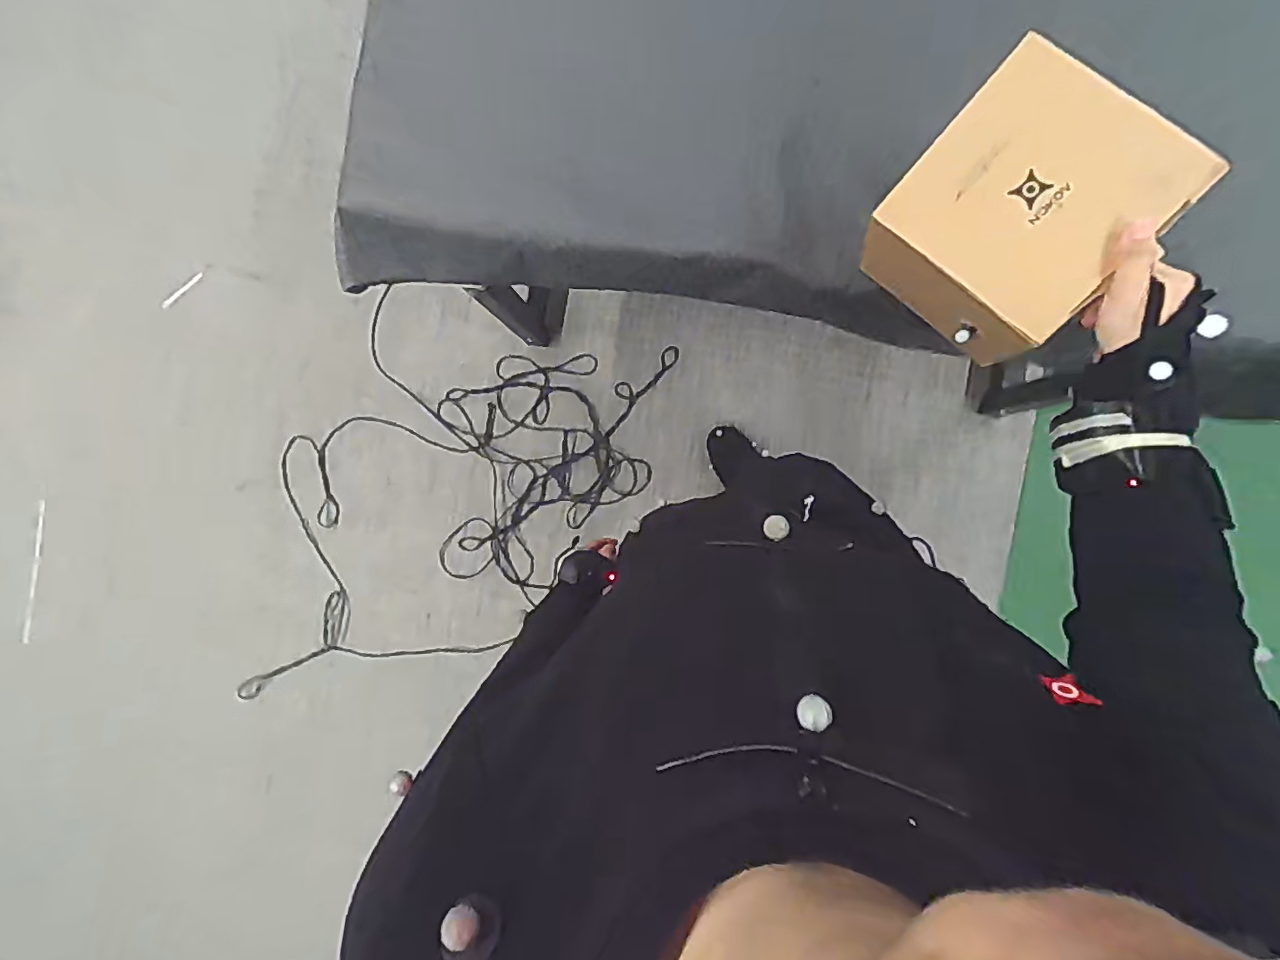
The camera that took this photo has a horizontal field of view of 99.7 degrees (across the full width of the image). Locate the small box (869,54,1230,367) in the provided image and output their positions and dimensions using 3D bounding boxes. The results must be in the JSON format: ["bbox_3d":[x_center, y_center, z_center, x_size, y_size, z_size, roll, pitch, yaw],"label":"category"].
[{"bbox_3d":[0.338,-0.219,0.497,0.179,0.176,0.168,45,107,11],"label":"small box"}]
